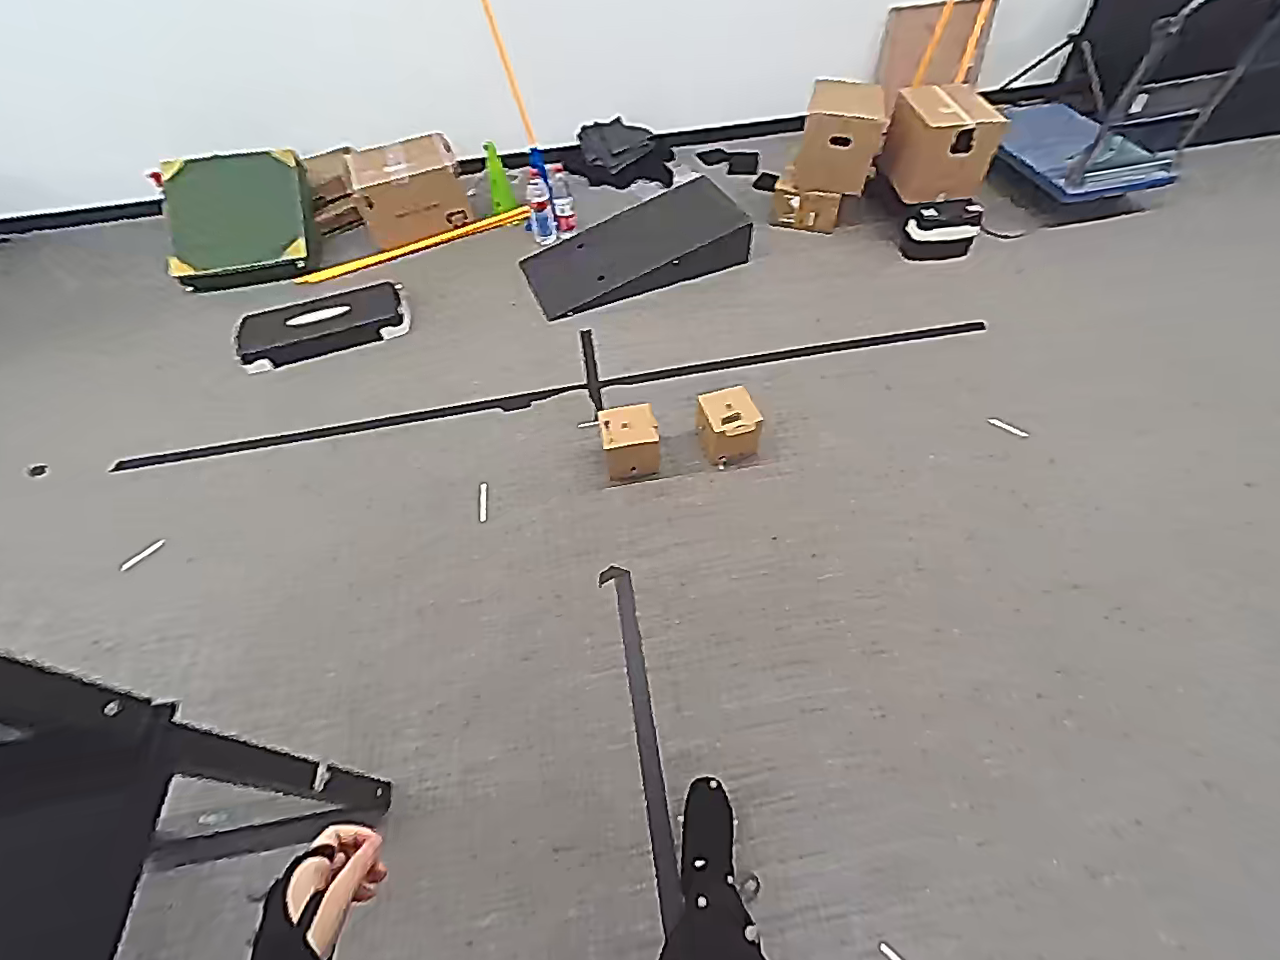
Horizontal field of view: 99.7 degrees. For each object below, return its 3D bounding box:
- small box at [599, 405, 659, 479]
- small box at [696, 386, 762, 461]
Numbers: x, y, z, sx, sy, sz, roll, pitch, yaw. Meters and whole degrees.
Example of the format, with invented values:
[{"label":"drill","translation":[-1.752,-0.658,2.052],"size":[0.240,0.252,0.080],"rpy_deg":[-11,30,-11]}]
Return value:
[{"label":"small box","translation":[-0.036,-0.123,1.782],"size":[0.179,0.176,0.168],"rpy_deg":[-9,54,-4]},{"label":"small box","translation":[0.293,-0.182,1.810],"size":[0.168,0.176,0.179],"rpy_deg":[-15,54,-8]}]
